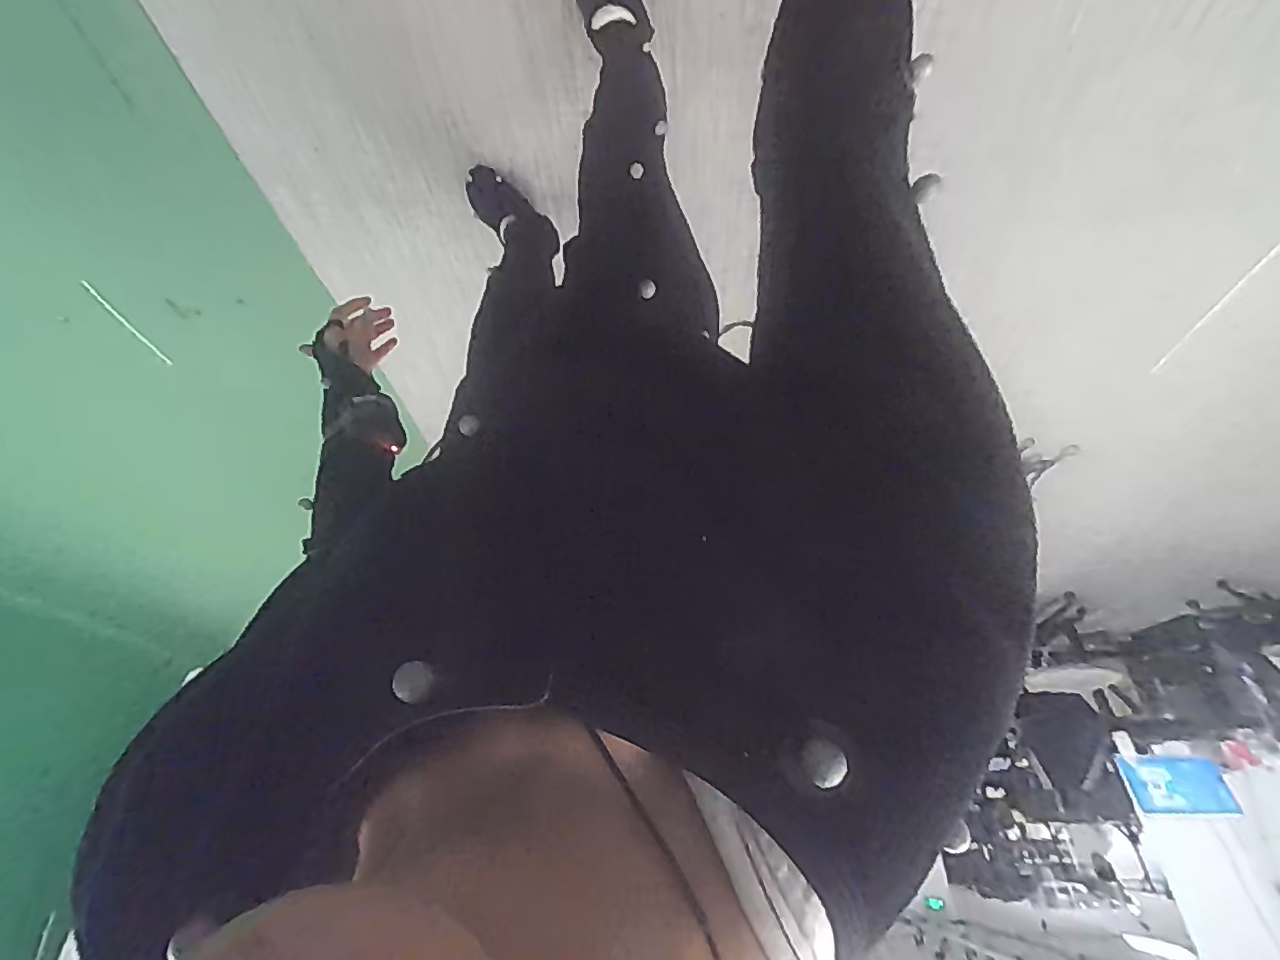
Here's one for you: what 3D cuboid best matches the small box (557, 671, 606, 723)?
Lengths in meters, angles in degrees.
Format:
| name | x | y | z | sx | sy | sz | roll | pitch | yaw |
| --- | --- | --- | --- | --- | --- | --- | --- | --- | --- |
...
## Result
| name | x | y | z | sx | sy | sz | roll | pitch | yaw |
| --- | --- | --- | --- | --- | --- | --- | --- | --- | --- |
| small box | -0.230 | 0.876 | 2.181 | 0.168 | 0.176 | 0.179 | -4 | 146 | 4 |
